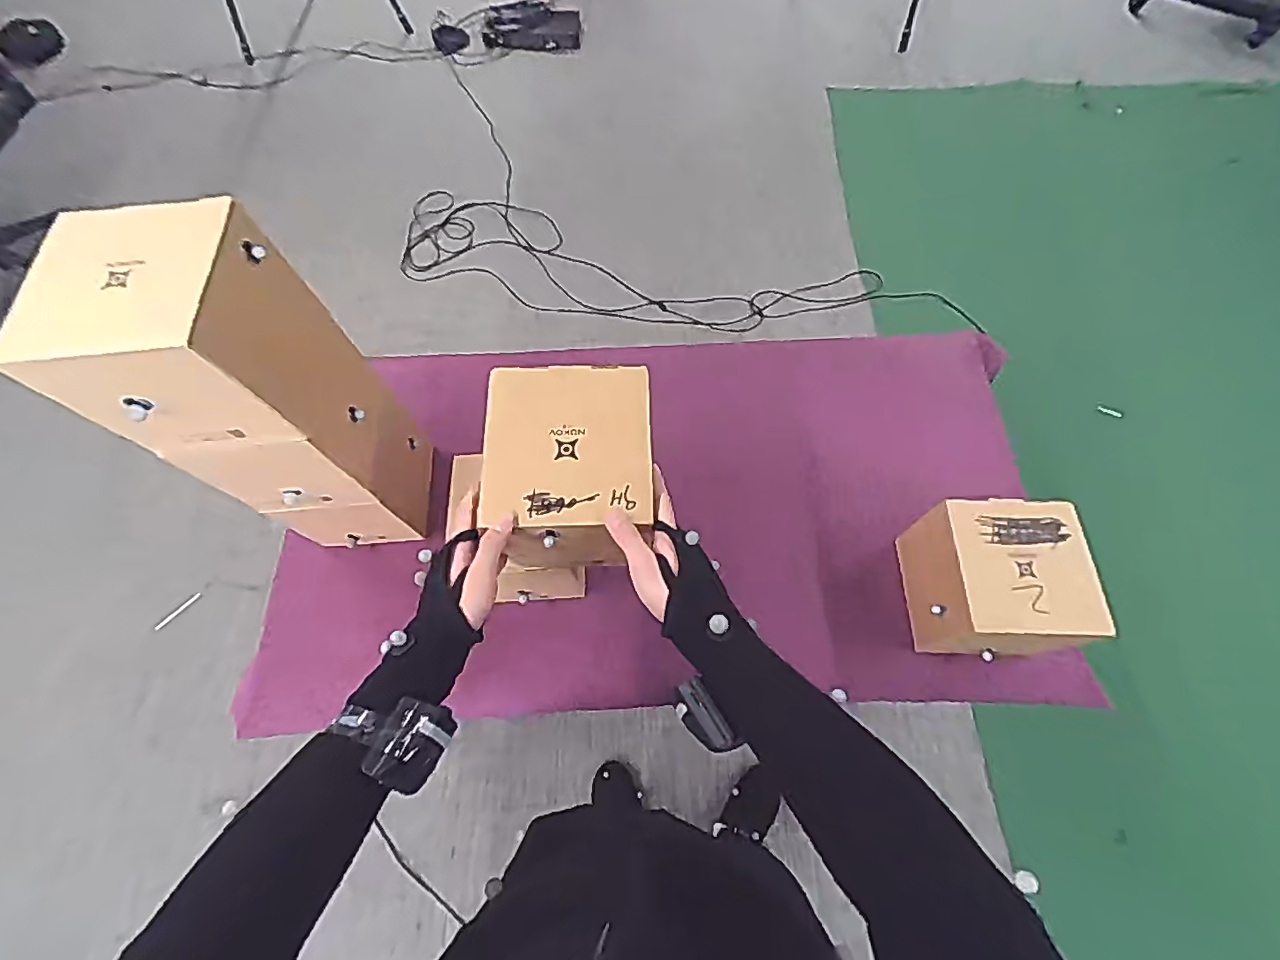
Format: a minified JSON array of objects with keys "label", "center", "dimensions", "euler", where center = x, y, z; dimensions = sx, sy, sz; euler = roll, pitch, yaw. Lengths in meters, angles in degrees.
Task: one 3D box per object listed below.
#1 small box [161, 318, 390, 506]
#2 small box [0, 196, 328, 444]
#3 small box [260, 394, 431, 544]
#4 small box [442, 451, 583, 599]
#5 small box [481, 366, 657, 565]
[{"label":"small box","center":[-0.442,-0.080,0.693],"dimensions":[0.168,0.176,0.179],"euler":[-5,66,0]},{"label":"small box","center":[-0.447,-0.146,0.545],"dimensions":[0.168,0.176,0.179],"euler":[-5,65,0]},{"label":"small box","center":[-0.439,-0.012,0.841],"dimensions":[0.168,0.176,0.179],"euler":[-4,66,0]},{"label":"small box","center":[-0.174,0.069,0.798],"dimensions":[0.168,0.176,0.179],"euler":[-3,66,0]},{"label":"small box","center":[-0.068,-0.009,0.607],"dimensions":[0.168,0.176,0.179],"euler":[-1,69,0]}]
